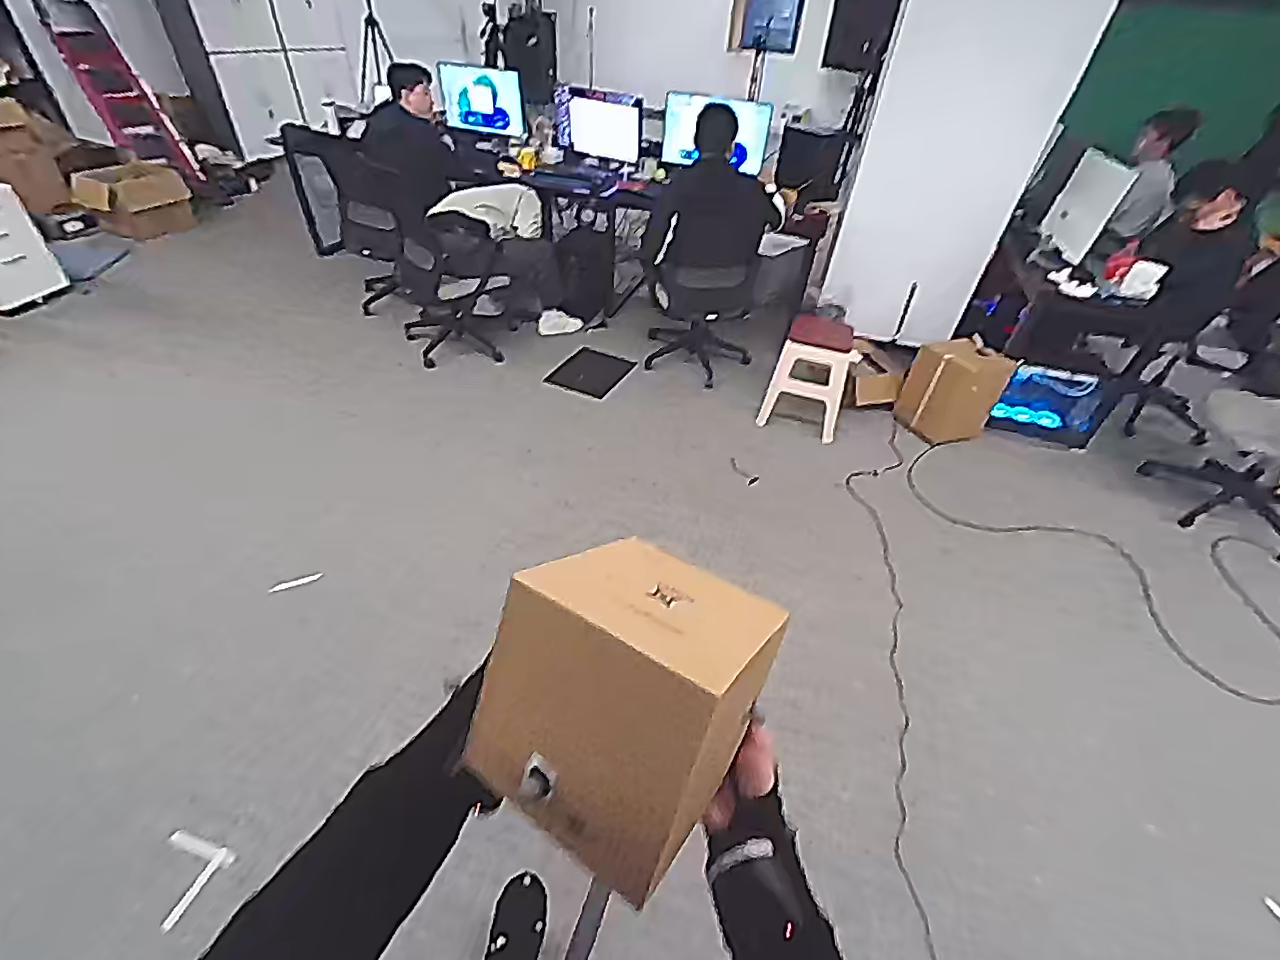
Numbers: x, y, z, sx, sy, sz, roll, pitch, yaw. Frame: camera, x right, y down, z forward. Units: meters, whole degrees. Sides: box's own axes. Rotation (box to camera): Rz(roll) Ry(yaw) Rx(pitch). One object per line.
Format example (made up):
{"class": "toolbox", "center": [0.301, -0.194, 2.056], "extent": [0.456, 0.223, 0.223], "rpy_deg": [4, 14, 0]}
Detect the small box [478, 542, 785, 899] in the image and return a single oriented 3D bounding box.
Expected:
{"class": "small box", "center": [-0.004, 0.170, 0.441], "extent": [0.168, 0.176, 0.179], "rpy_deg": [23, 13, 25]}
